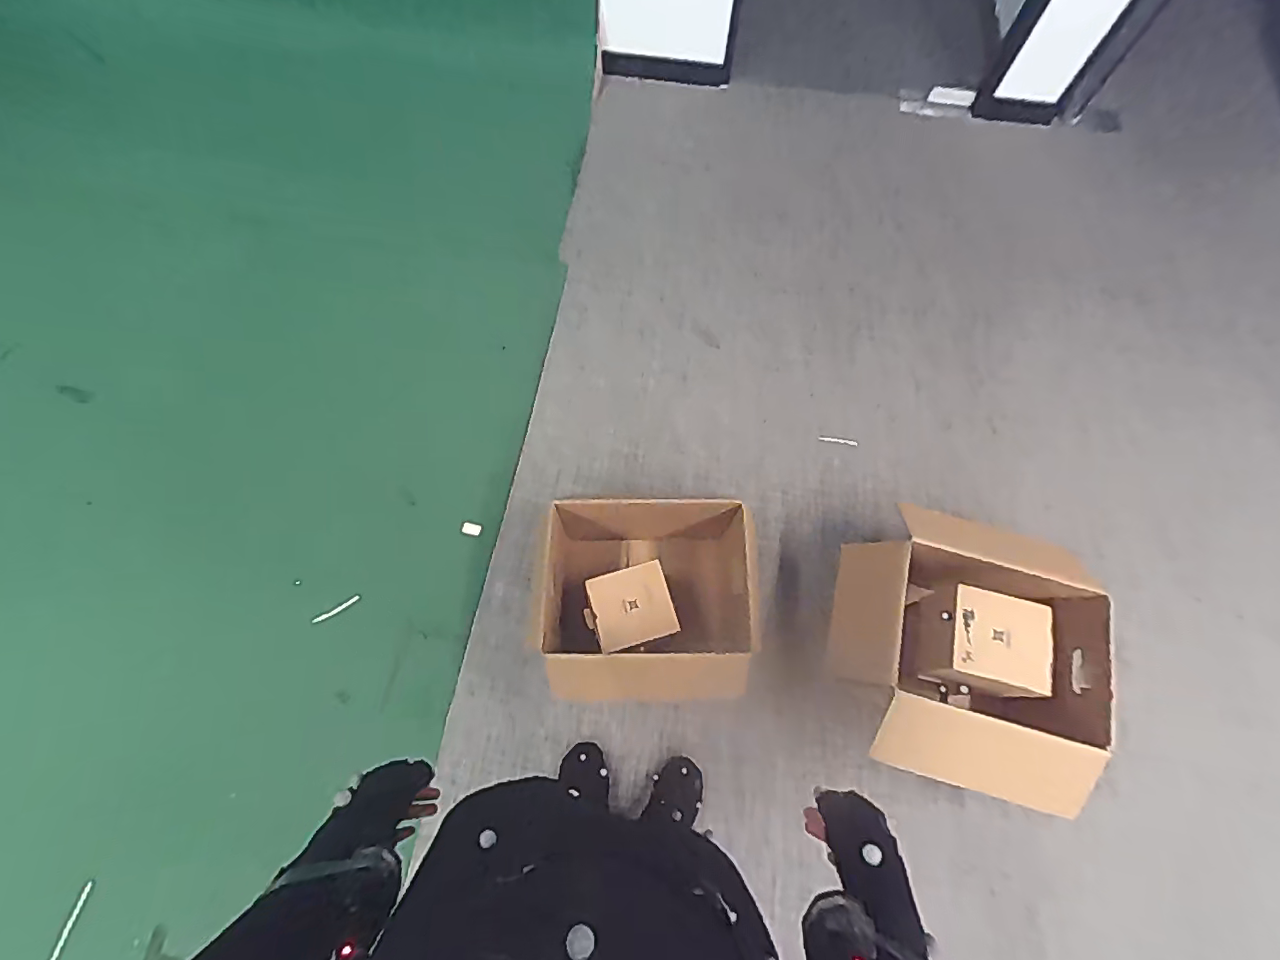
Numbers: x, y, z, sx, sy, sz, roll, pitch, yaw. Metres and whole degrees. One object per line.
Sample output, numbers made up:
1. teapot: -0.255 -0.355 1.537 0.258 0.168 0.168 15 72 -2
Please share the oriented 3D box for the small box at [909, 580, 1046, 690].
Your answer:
1. small box: 0.677 0.318 1.095 0.179 0.176 0.168 14 68 5
